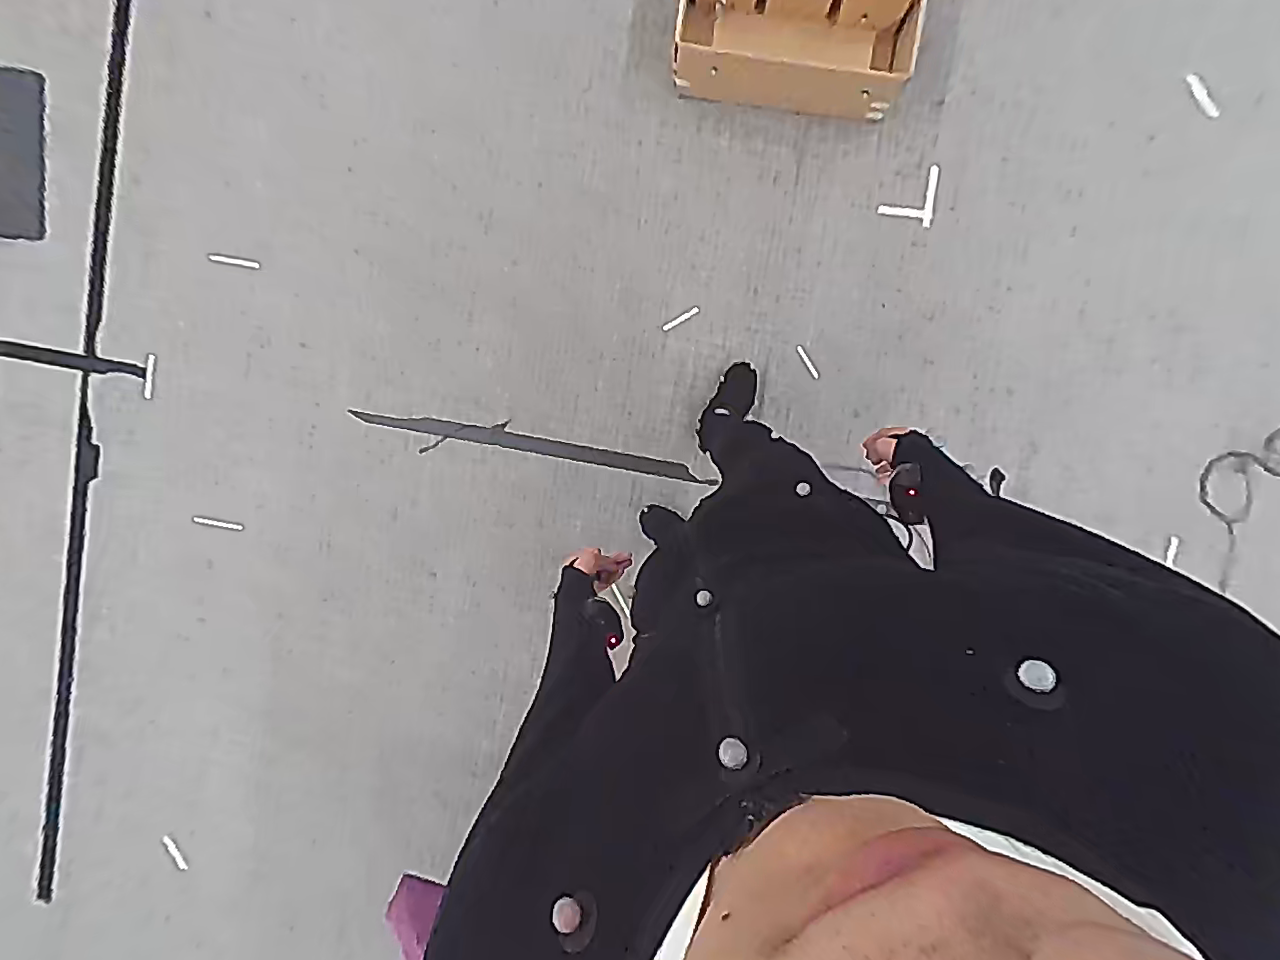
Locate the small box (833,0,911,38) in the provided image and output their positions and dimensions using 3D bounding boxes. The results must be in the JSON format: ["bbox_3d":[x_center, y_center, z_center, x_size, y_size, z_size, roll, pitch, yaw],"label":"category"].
[{"bbox_3d":[0.621,-1.314,1.410,0.168,0.176,0.179,9,96,2],"label":"small box"}]
